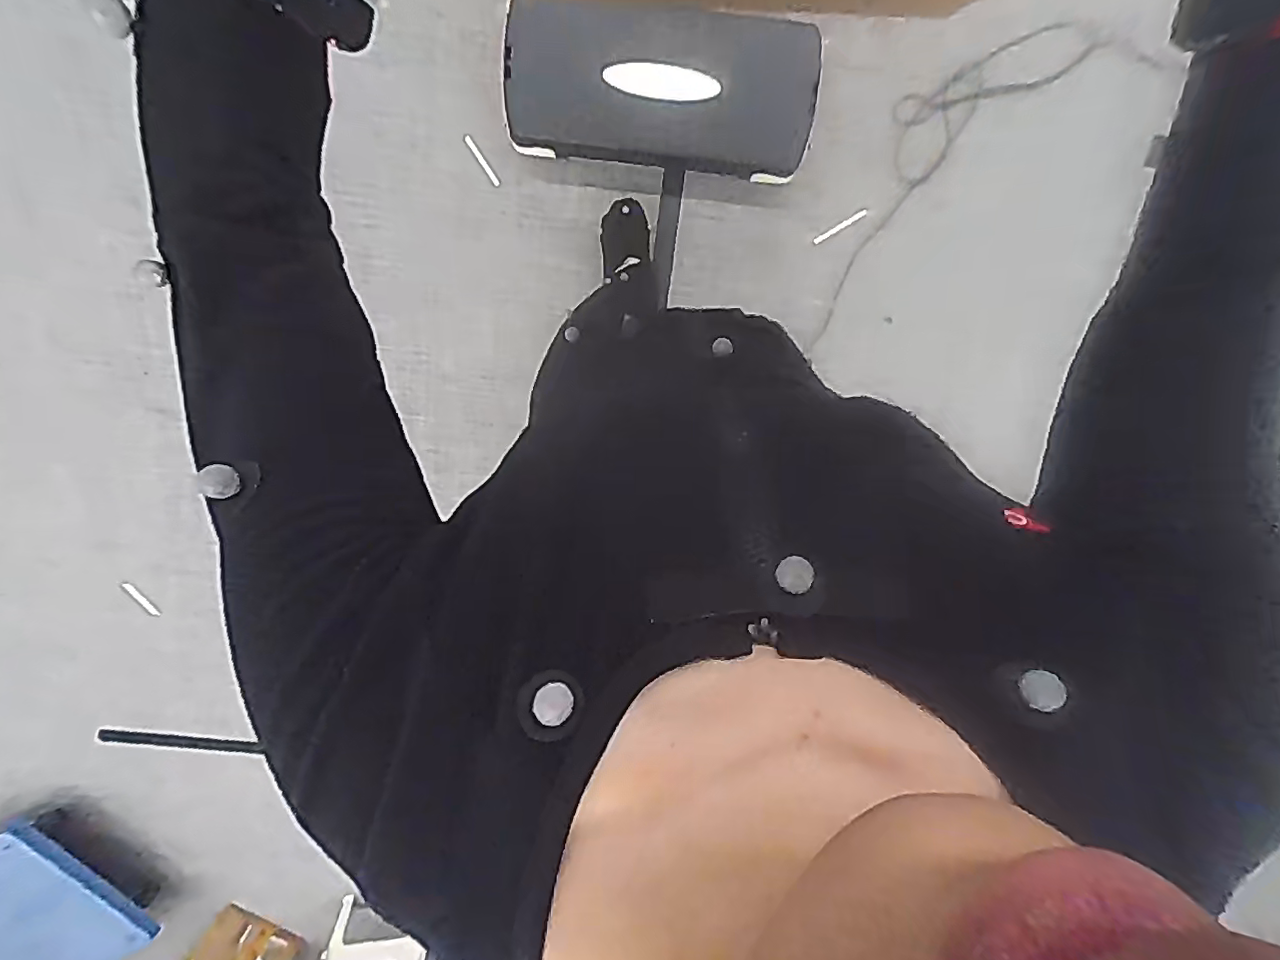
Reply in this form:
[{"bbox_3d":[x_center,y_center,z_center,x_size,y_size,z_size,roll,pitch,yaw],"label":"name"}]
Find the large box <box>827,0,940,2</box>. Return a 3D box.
[{"bbox_3d":[0.091,-0.516,0.300,0.408,0.320,0.320,1,117,-2],"label":"large box"}]
